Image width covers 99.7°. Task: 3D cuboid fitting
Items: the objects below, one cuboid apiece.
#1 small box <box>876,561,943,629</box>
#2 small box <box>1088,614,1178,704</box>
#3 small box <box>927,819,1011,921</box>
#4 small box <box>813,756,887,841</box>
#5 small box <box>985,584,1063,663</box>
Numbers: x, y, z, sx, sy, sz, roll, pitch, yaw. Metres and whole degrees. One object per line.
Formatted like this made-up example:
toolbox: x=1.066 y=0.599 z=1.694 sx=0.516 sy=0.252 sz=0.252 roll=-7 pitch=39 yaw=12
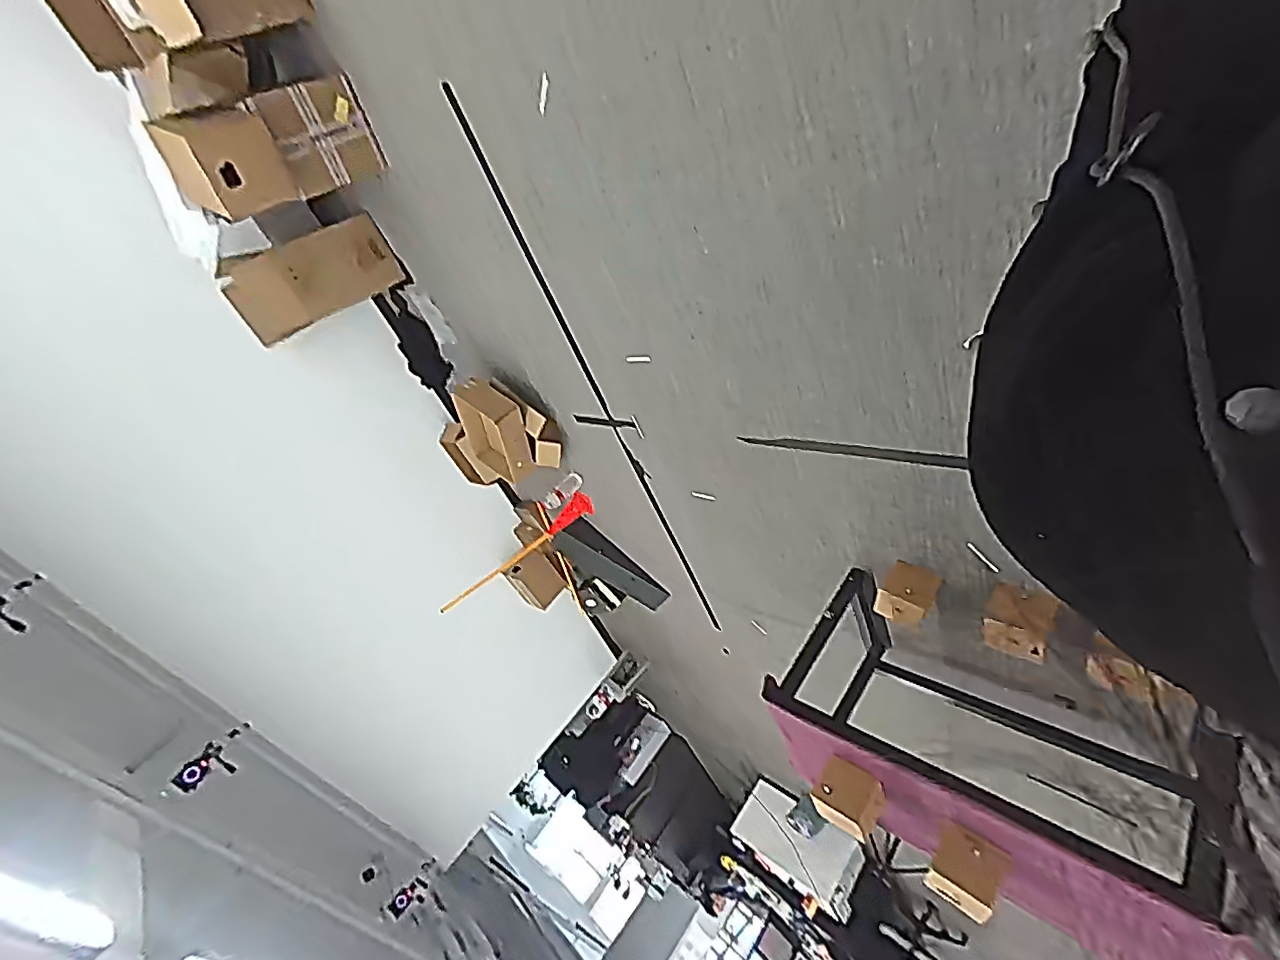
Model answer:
small box: x=1.066 y=0.448 z=2.138 sx=0.179 sy=0.176 sz=0.168 roll=24 pitch=145 yaw=32
small box: x=1.513 y=0.541 z=1.659 sx=0.179 sy=0.176 sz=0.168 roll=14 pitch=138 yaw=45
small box: x=0.999 y=1.180 z=1.643 sx=0.168 sy=0.176 sz=0.179 roll=21 pitch=144 yaw=37
small box: x=0.737 y=1.105 z=1.894 sx=0.179 sy=0.176 sz=0.168 roll=13 pitch=140 yaw=45
small box: x=1.312 y=0.482 z=1.849 sx=0.179 sy=0.176 sz=0.168 roll=16 pitch=141 yaw=43
